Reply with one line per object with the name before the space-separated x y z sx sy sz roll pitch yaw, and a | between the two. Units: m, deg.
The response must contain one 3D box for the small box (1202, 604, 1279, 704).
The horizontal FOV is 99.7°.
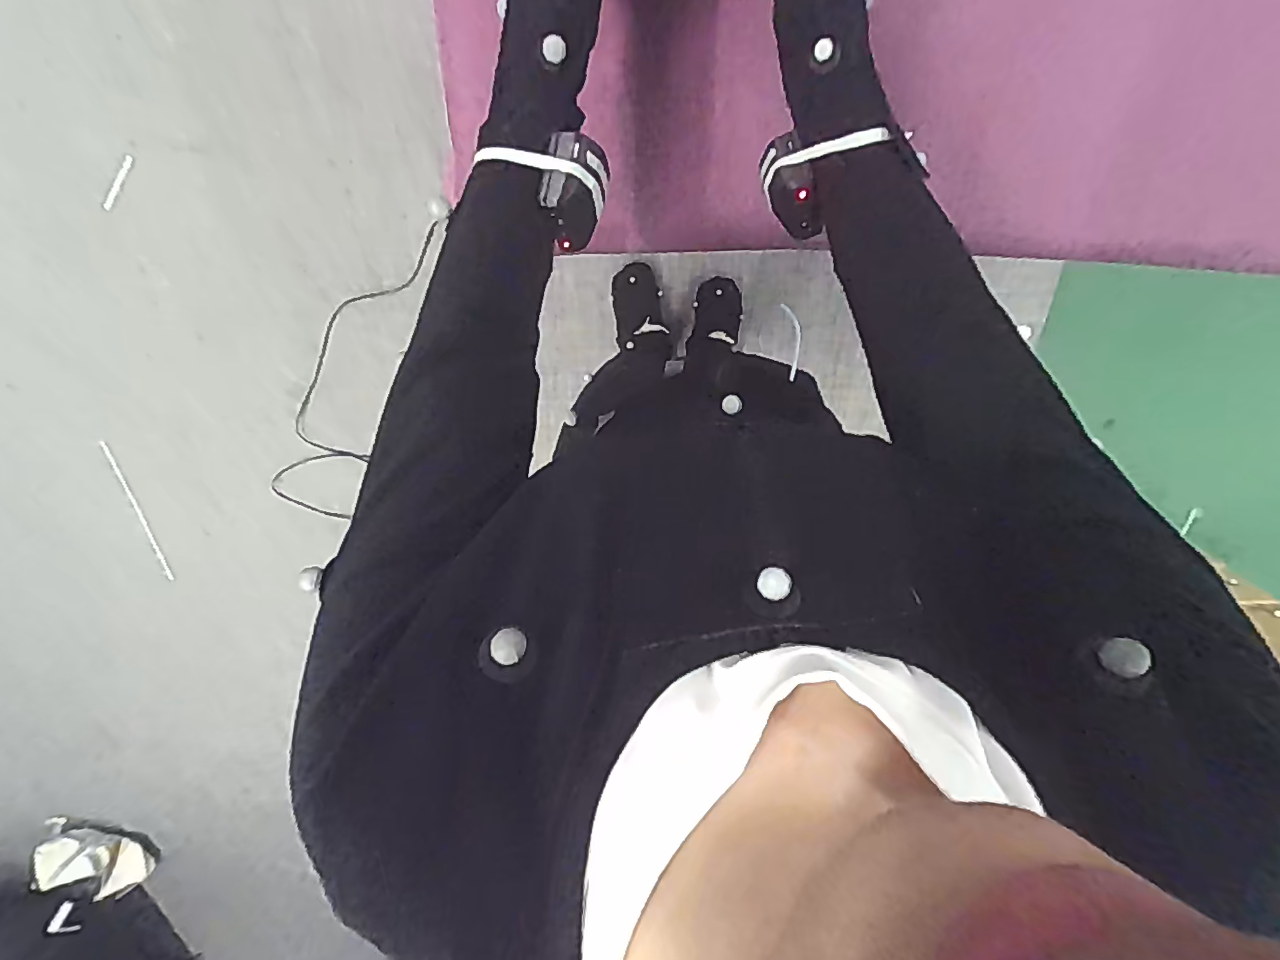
small box | 1.573 0.430 1.340 0.168 0.176 0.179 -1 117 0
